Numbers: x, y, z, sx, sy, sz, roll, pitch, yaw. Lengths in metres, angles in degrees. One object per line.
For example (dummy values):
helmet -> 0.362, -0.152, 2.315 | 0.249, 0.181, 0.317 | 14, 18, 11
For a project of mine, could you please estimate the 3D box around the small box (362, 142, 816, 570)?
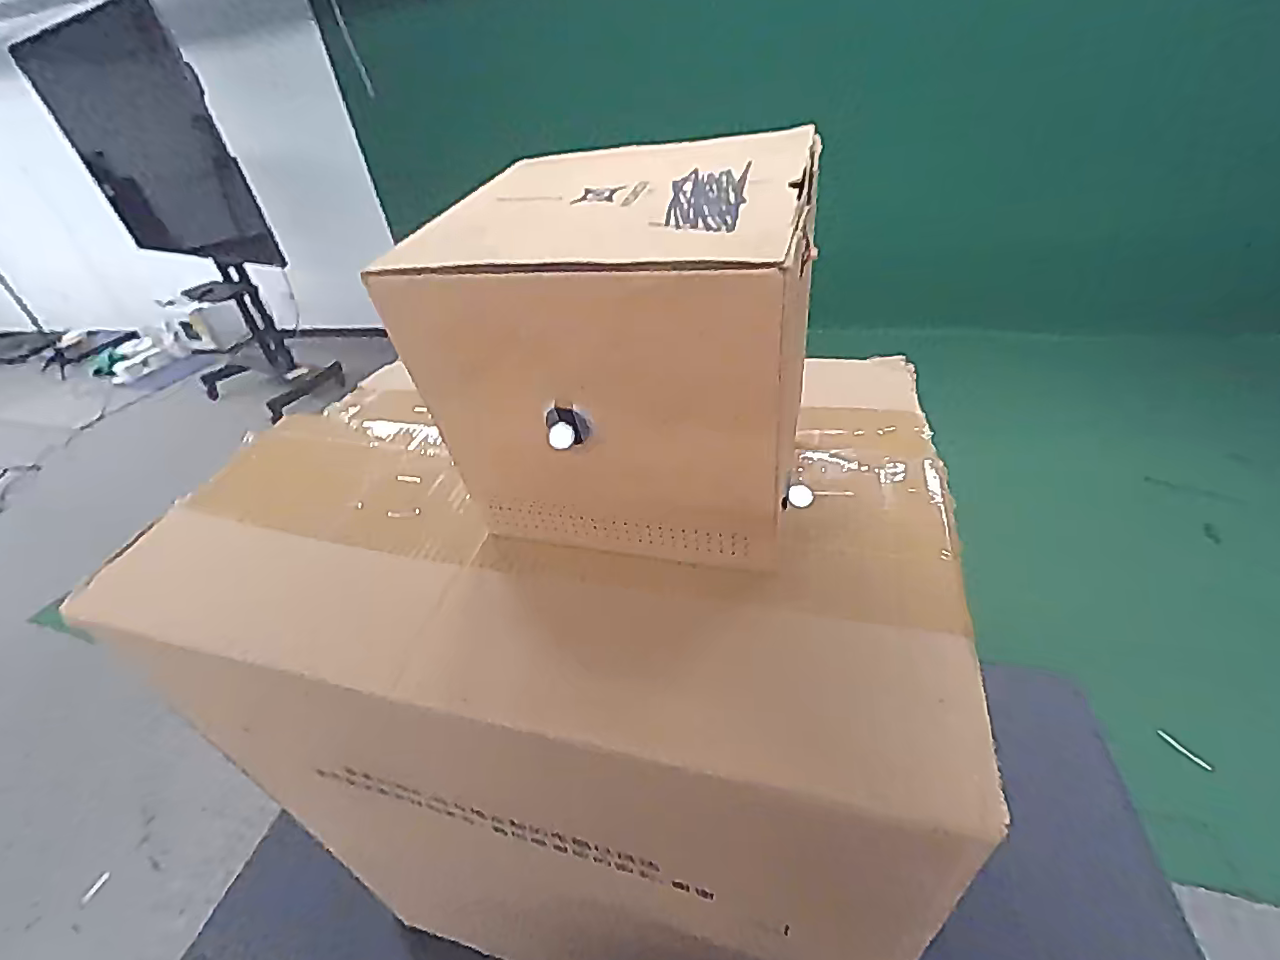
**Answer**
small box -> -0.002, -0.068, 0.309 | 0.179, 0.176, 0.168 | 5, 45, 18
